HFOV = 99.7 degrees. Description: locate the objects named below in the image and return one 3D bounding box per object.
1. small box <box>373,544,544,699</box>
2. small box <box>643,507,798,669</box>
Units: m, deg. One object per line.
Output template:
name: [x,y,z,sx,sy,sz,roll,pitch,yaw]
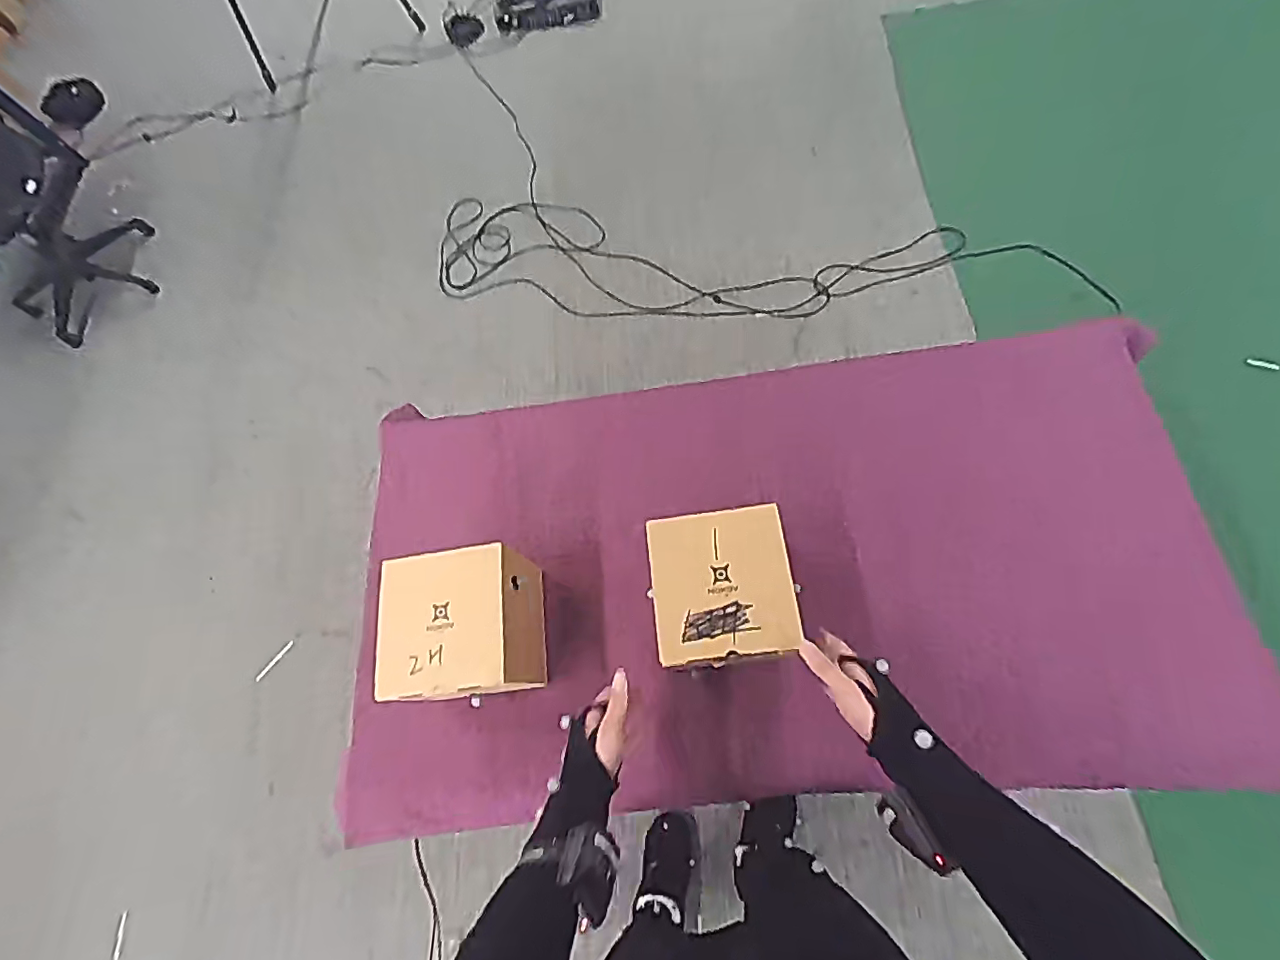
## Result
small box: [-0.238,0.203,0.747,0.168,0.176,0.179,-9,68,6]
small box: [0.103,0.151,0.712,0.168,0.176,0.179,-8,67,6]
